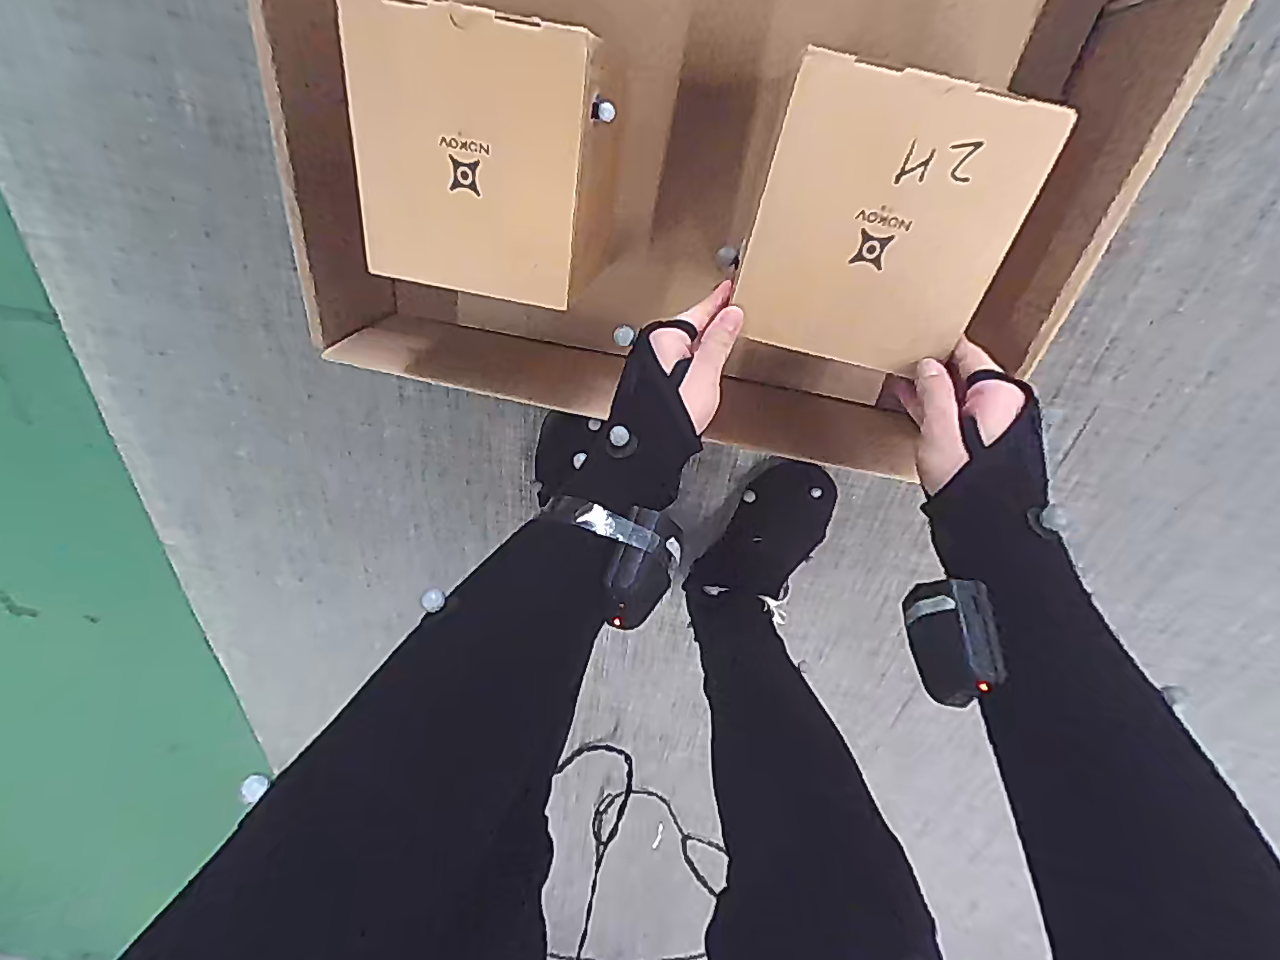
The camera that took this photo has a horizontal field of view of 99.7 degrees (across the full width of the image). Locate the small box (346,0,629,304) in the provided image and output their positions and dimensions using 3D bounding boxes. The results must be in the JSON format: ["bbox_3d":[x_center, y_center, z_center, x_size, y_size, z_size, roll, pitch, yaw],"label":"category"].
[{"bbox_3d":[-0.109,-0.268,0.451,0.168,0.176,0.179,12,122,2],"label":"small box"}]

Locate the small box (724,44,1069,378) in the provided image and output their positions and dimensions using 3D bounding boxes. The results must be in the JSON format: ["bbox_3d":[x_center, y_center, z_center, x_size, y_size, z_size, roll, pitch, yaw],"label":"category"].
[{"bbox_3d":[0.172,-0.208,0.432,0.168,0.176,0.179,14,121,1],"label":"small box"}]
